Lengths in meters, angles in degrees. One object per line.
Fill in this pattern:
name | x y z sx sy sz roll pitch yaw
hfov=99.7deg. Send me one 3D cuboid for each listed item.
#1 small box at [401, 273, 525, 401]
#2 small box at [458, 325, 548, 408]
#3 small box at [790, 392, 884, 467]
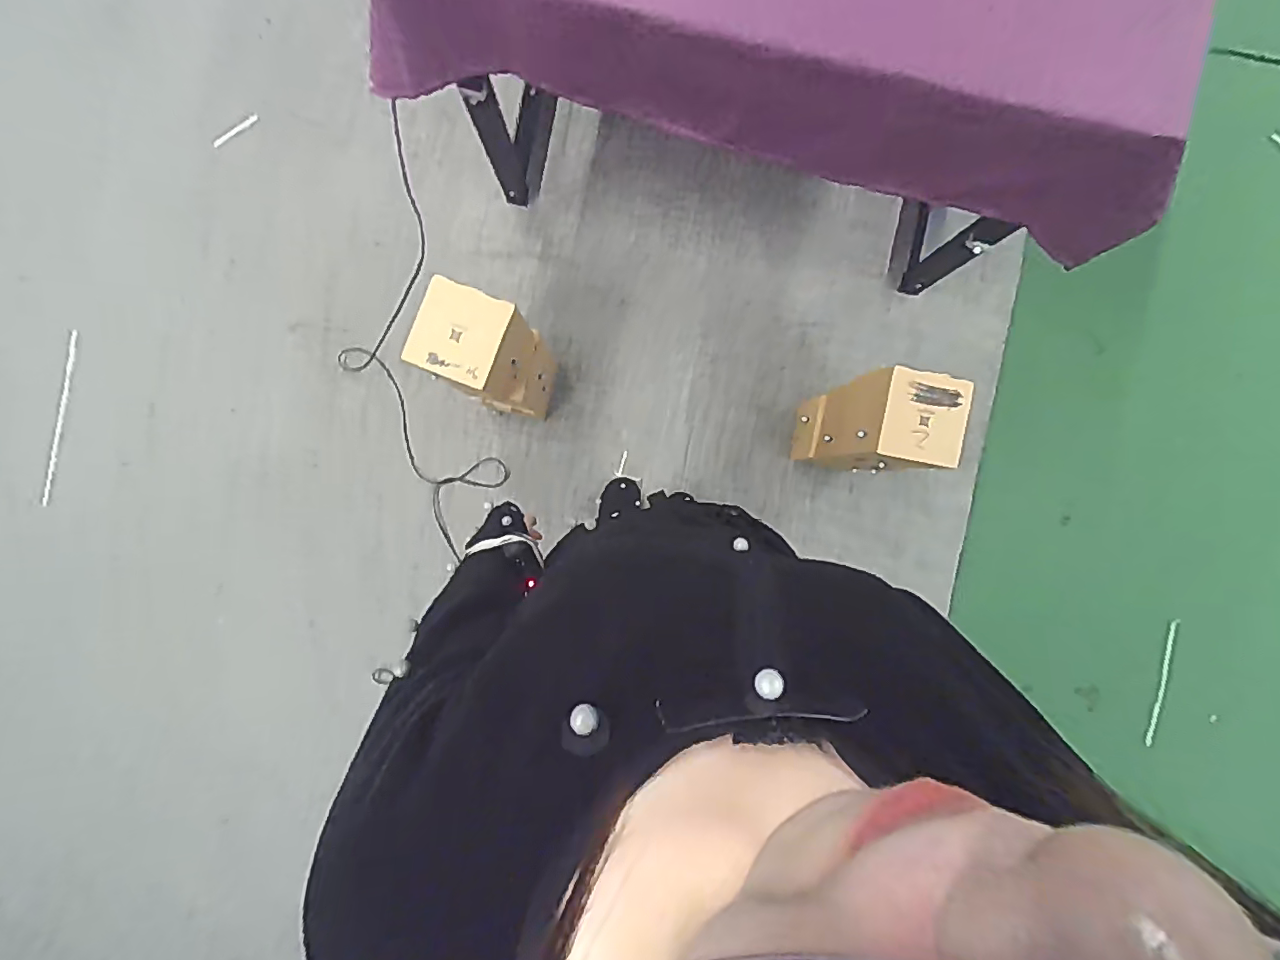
small box | -0.342 -0.276 1.087 0.168 0.176 0.179 22 89 -1
small box | -0.326 -0.271 1.252 0.179 0.176 0.168 14 90 -2
small box | 0.518 -0.129 1.447 0.179 0.176 0.168 10 90 -2
